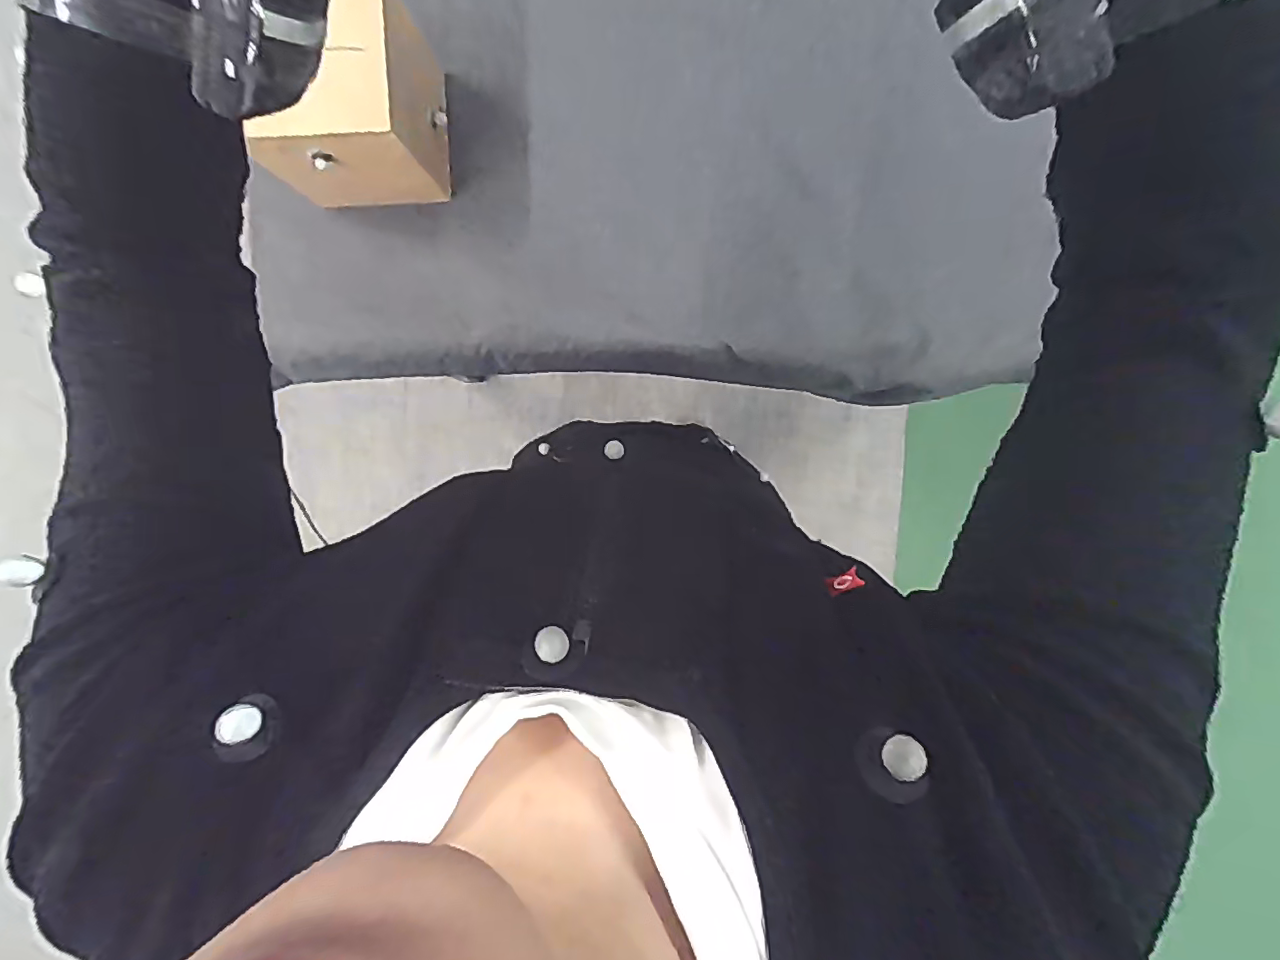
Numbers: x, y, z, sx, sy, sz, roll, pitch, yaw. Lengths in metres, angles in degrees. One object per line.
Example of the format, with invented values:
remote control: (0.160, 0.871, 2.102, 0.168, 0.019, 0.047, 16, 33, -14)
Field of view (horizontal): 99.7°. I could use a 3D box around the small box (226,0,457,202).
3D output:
small box: (-0.333, -0.444, 0.632, 0.179, 0.176, 0.168, -2, 95, 2)
